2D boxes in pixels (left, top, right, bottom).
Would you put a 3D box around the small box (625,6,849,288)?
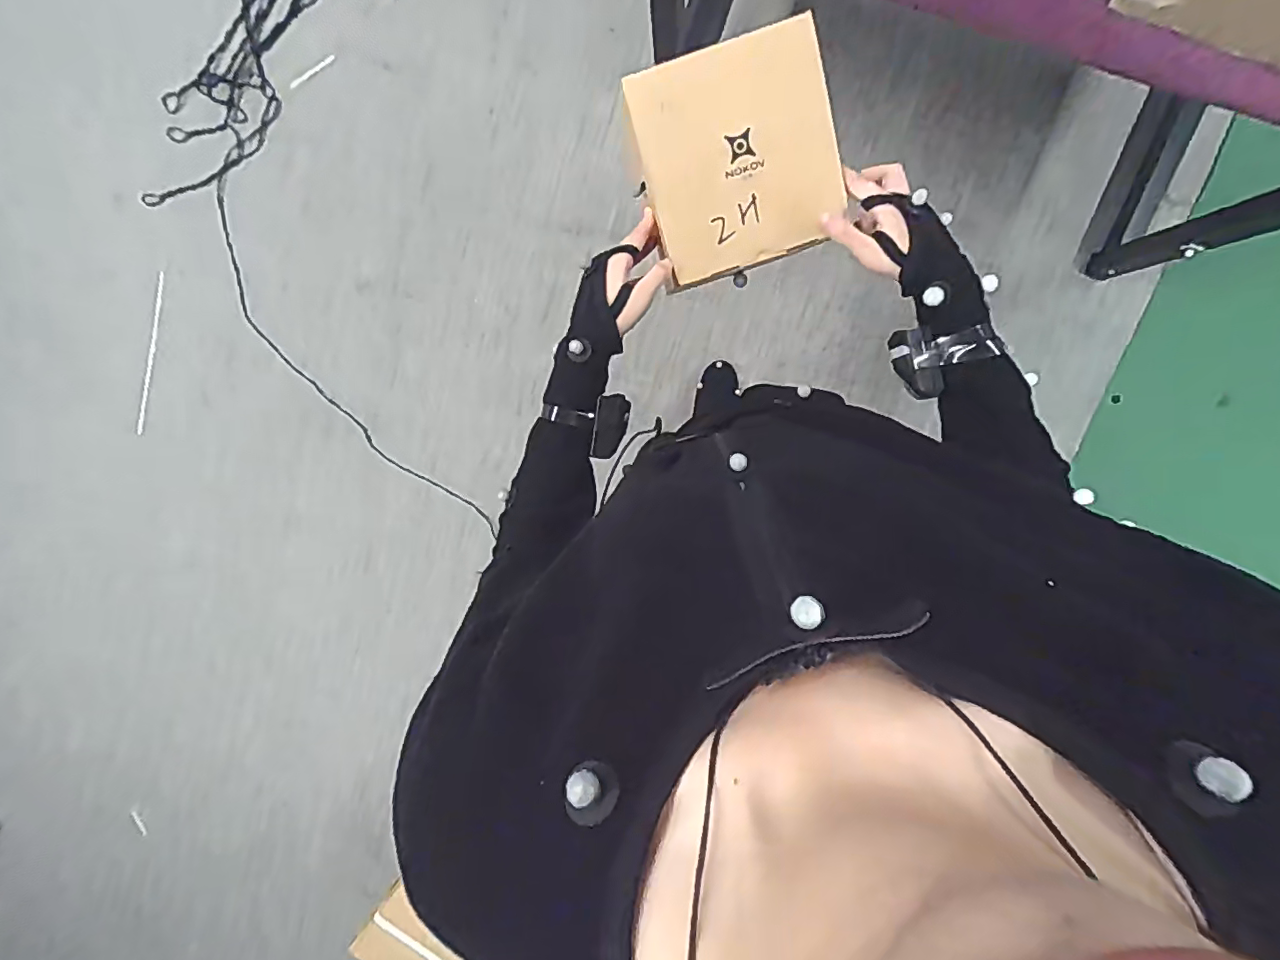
[{"bbox_3d":[0.084,-0.307,0.543,0.168,0.176,0.179,-17,107,3],"label":"small box"}]
